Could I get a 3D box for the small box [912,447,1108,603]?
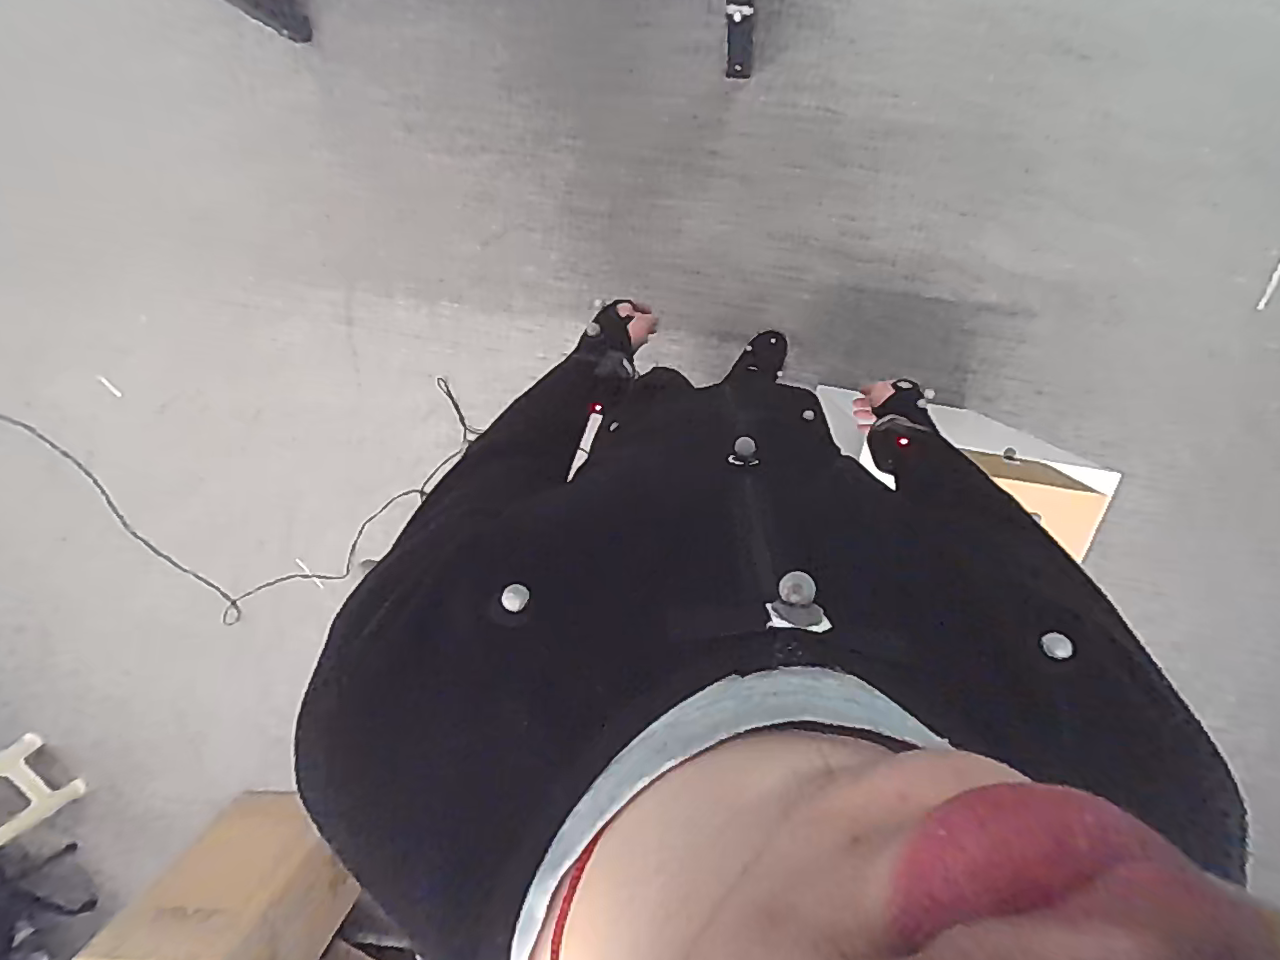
[{"bbox_3d":[0.544,0.061,0.827,0.168,0.176,0.179,8,108,3],"label":"small box"}]
